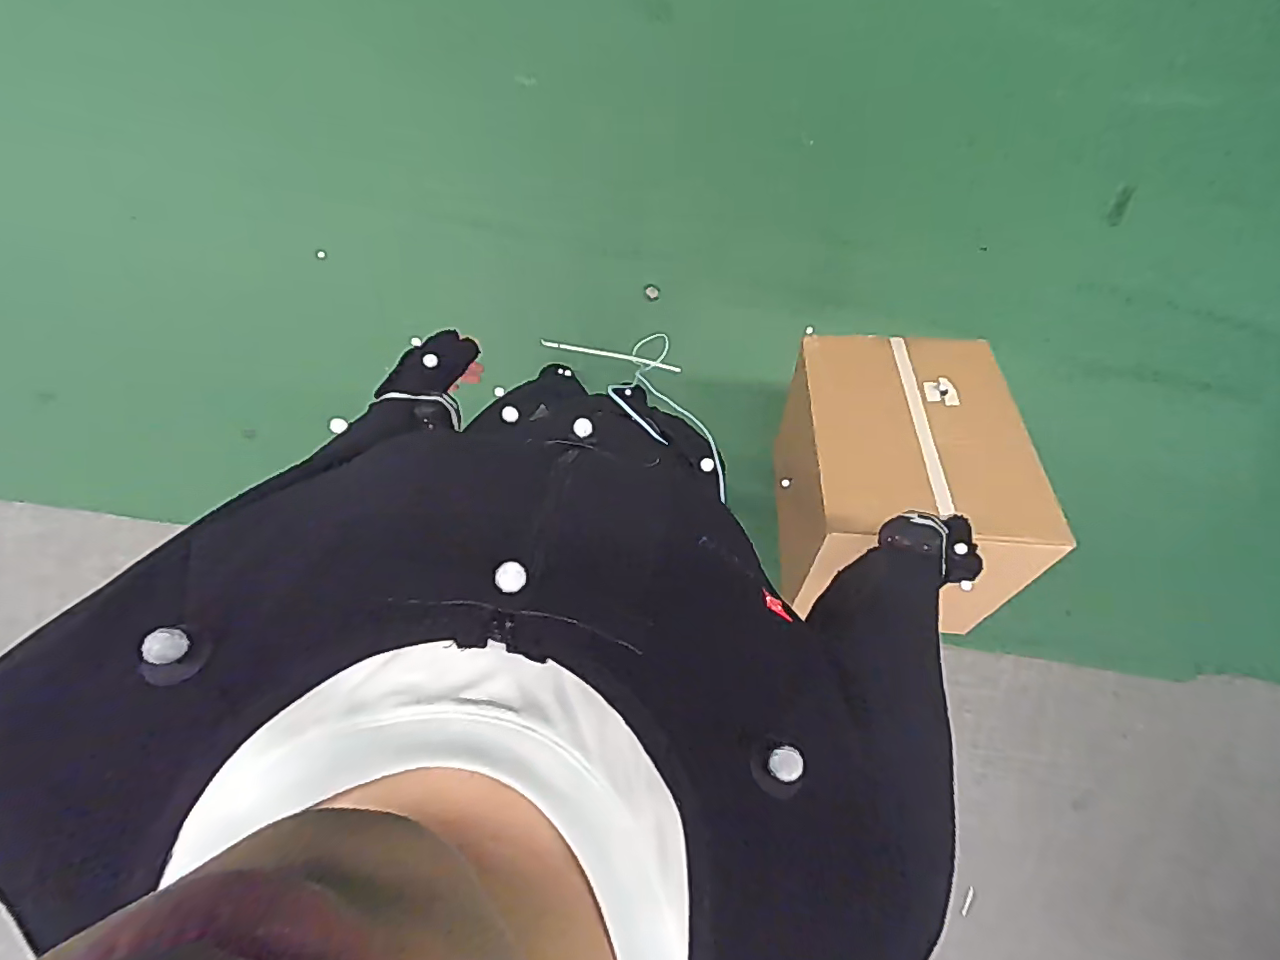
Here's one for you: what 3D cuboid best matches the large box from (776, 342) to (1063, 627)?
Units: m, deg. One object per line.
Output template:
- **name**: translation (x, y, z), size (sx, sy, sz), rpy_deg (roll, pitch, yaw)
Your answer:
- **large box**: translation (0.429, 0.010, 0.956), size (0.320, 0.408, 0.320), rpy_deg (4, 143, 4)
